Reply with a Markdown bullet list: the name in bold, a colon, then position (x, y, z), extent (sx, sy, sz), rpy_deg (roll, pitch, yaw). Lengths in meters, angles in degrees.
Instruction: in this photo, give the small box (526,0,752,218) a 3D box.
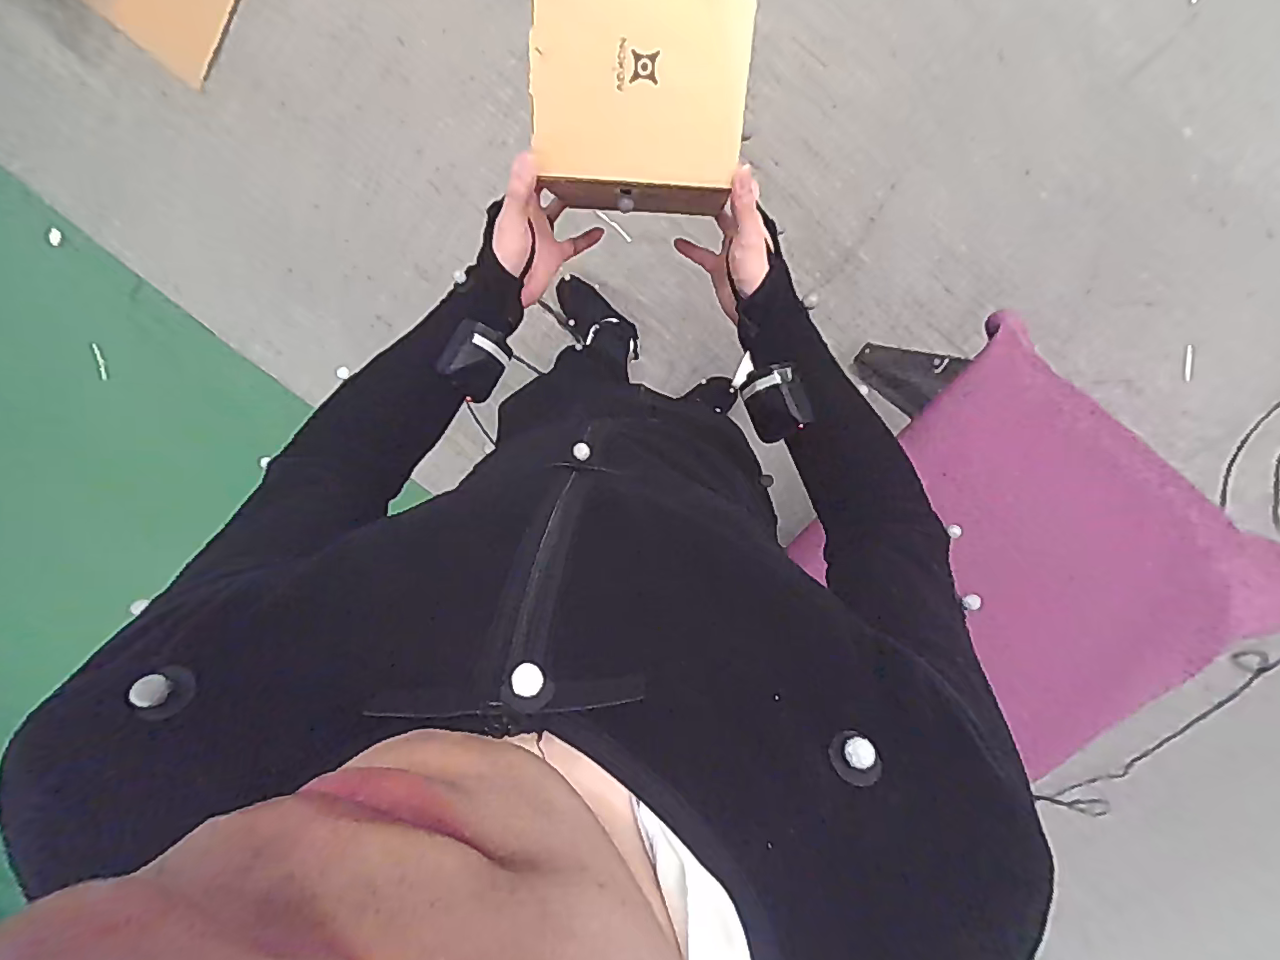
- **small box**: position (0.000, -0.348, 0.505), extent (0.179, 0.176, 0.168), rpy_deg (4, 109, 3)
